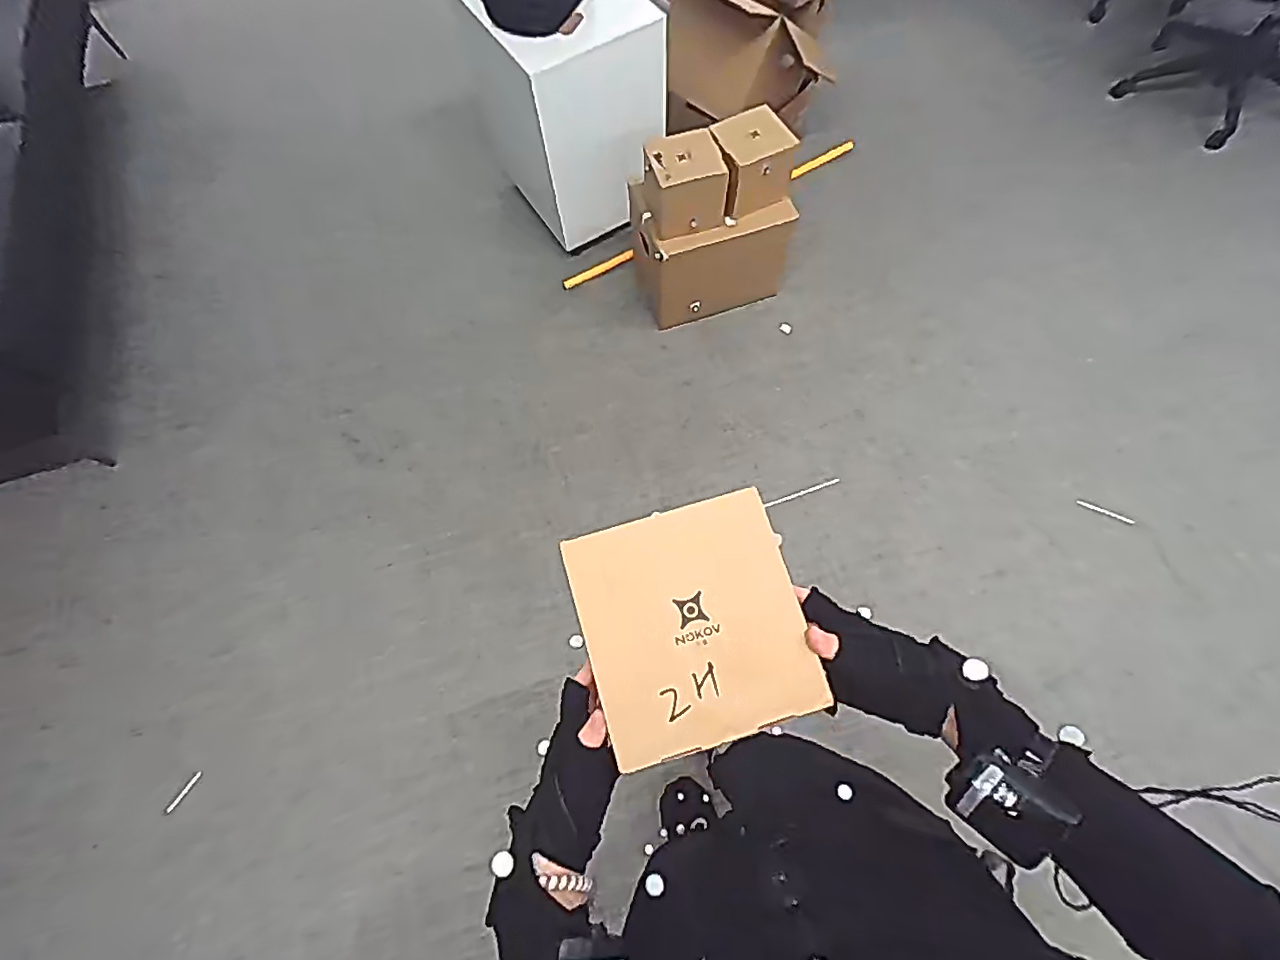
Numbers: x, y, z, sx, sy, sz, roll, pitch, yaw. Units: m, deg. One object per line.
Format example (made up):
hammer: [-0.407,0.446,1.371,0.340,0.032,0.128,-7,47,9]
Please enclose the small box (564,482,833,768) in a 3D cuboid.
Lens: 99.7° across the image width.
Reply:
small box: [0.038,0.122,0.481,0.168,0.176,0.179,-16,77,-5]
